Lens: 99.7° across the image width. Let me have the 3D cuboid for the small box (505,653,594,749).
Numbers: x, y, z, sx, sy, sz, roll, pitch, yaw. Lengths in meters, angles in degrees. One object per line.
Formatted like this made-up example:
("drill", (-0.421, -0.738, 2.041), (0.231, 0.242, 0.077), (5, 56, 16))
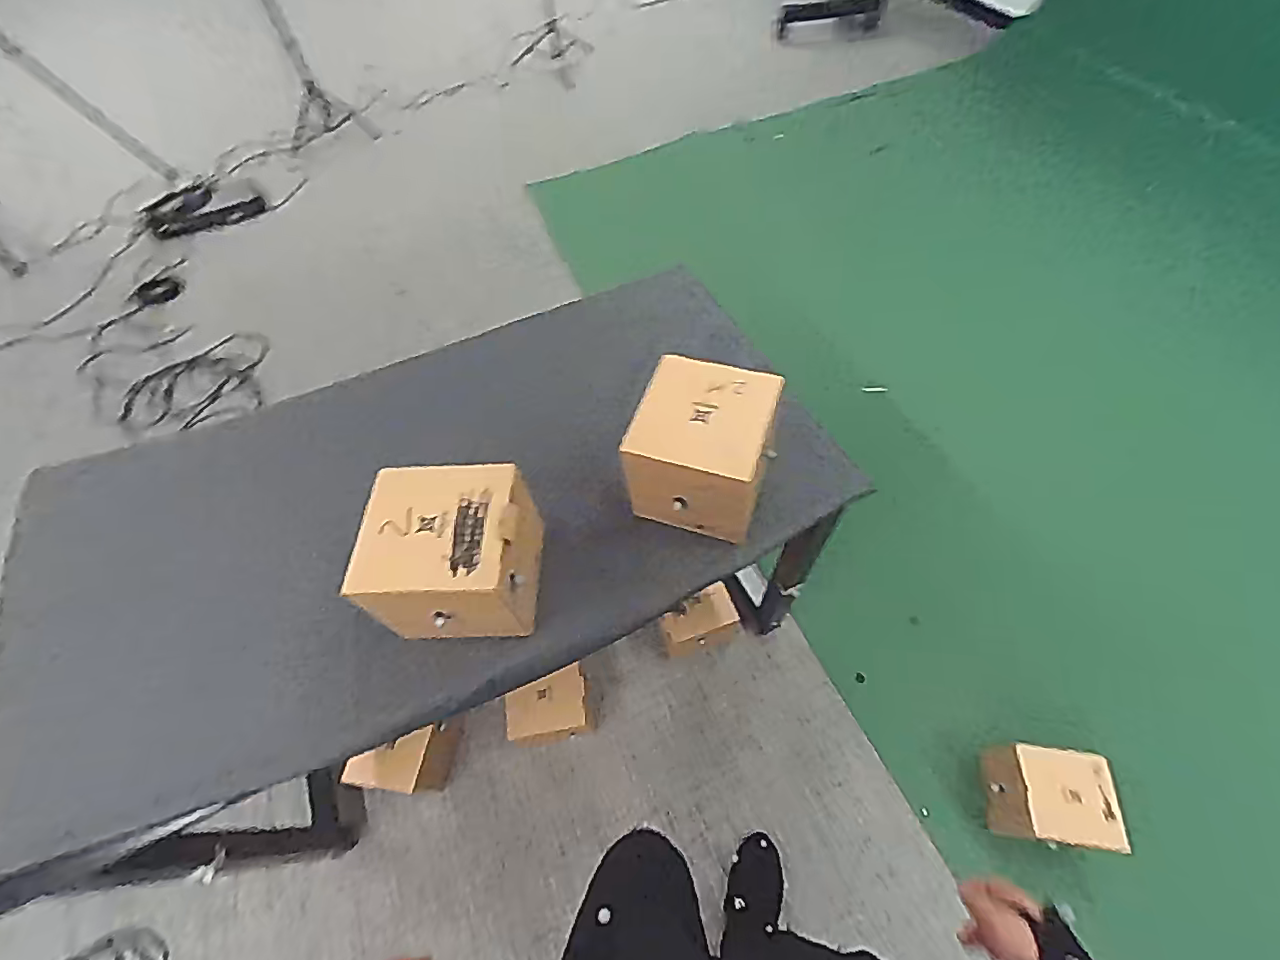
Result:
("small box", (-0.208, 0.525, 1.277), (0.179, 0.176, 0.168), (-12, 58, -2))

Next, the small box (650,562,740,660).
("small box", (0.136, 0.338, 1.372), (0.179, 0.176, 0.168), (-18, 59, -9))

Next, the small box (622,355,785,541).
("small box", (0.092, -0.039, 0.746), (0.168, 0.176, 0.179), (16, 60, 16))

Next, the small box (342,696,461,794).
("small box", (-0.535, 0.613, 1.243), (0.168, 0.176, 0.179), (5, 58, 7))

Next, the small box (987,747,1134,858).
("small box", (0.855, 0.672, 1.127), (0.179, 0.176, 0.168), (6, 58, 8))
